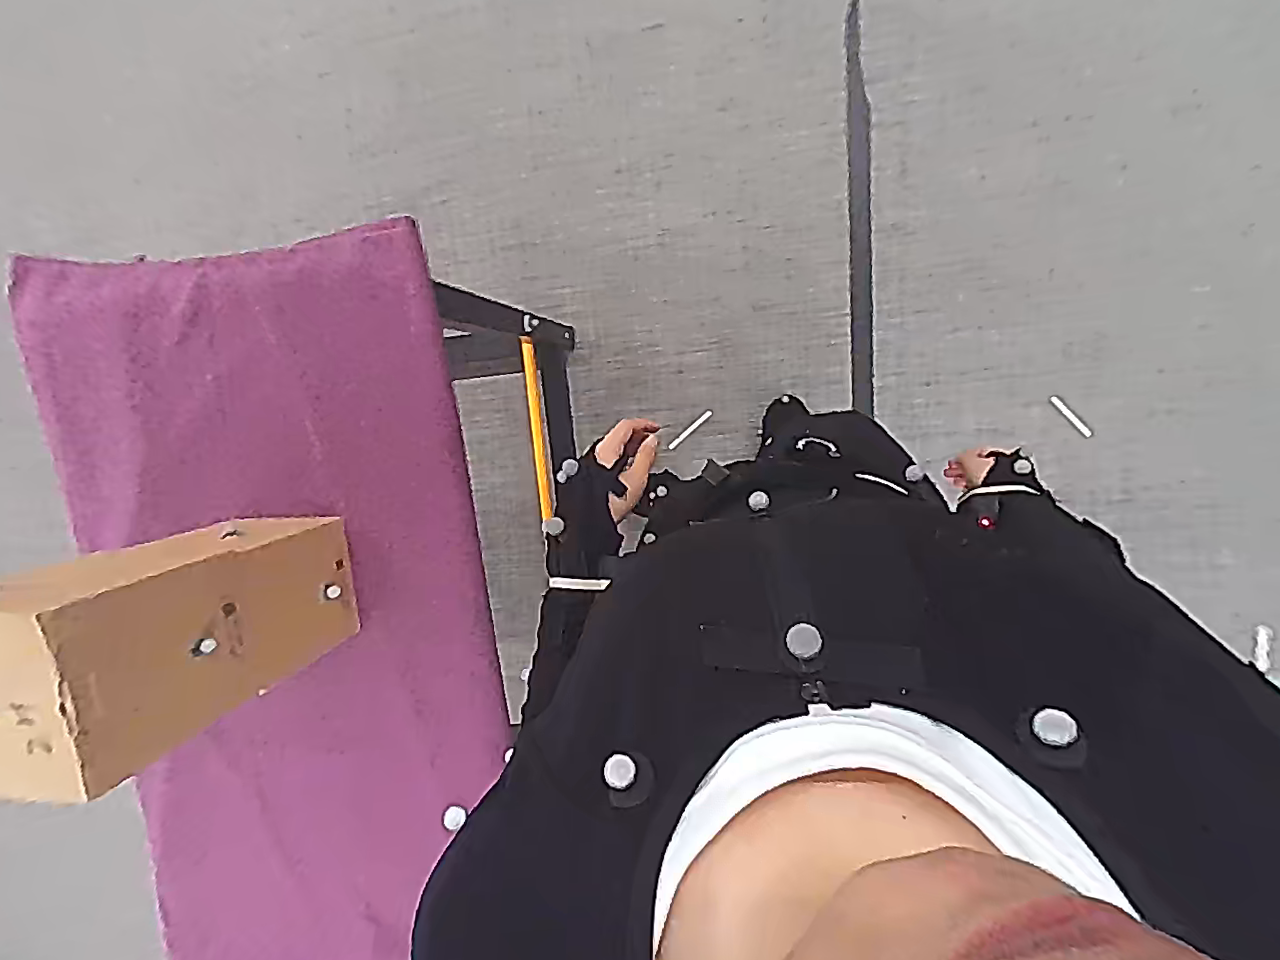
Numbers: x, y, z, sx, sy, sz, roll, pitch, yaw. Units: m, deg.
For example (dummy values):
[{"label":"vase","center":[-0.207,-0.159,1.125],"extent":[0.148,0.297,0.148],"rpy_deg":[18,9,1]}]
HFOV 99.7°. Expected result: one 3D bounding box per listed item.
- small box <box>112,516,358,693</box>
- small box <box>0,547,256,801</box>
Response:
[{"label":"small box","center":[-0.492,0.143,0.675],"extent":[0.179,0.176,0.168],"rpy_deg":[-2,99,9]},{"label":"small box","center":[-0.518,0.166,0.513],"extent":[0.179,0.176,0.168],"rpy_deg":[-3,100,9]}]
